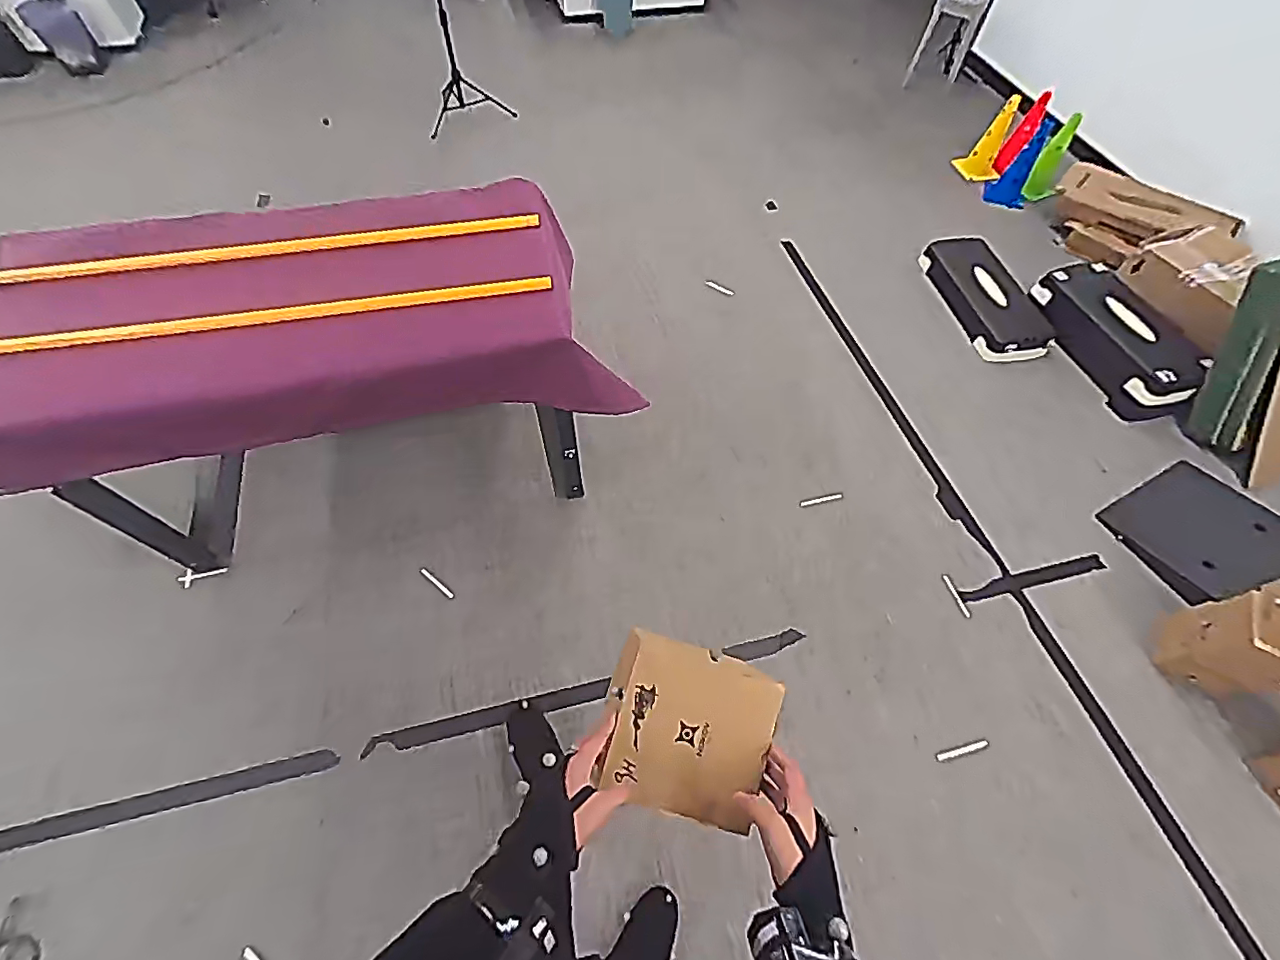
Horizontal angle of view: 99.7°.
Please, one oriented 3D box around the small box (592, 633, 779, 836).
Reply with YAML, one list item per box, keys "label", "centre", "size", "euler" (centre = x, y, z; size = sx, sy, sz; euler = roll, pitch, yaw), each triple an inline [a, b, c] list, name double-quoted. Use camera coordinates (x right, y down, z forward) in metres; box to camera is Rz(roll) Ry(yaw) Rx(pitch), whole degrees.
- label: "small box"
  centre: [0.047, 0.303, 0.683]
  size: [0.179, 0.176, 0.168]
  euler: [19, 79, -3]
